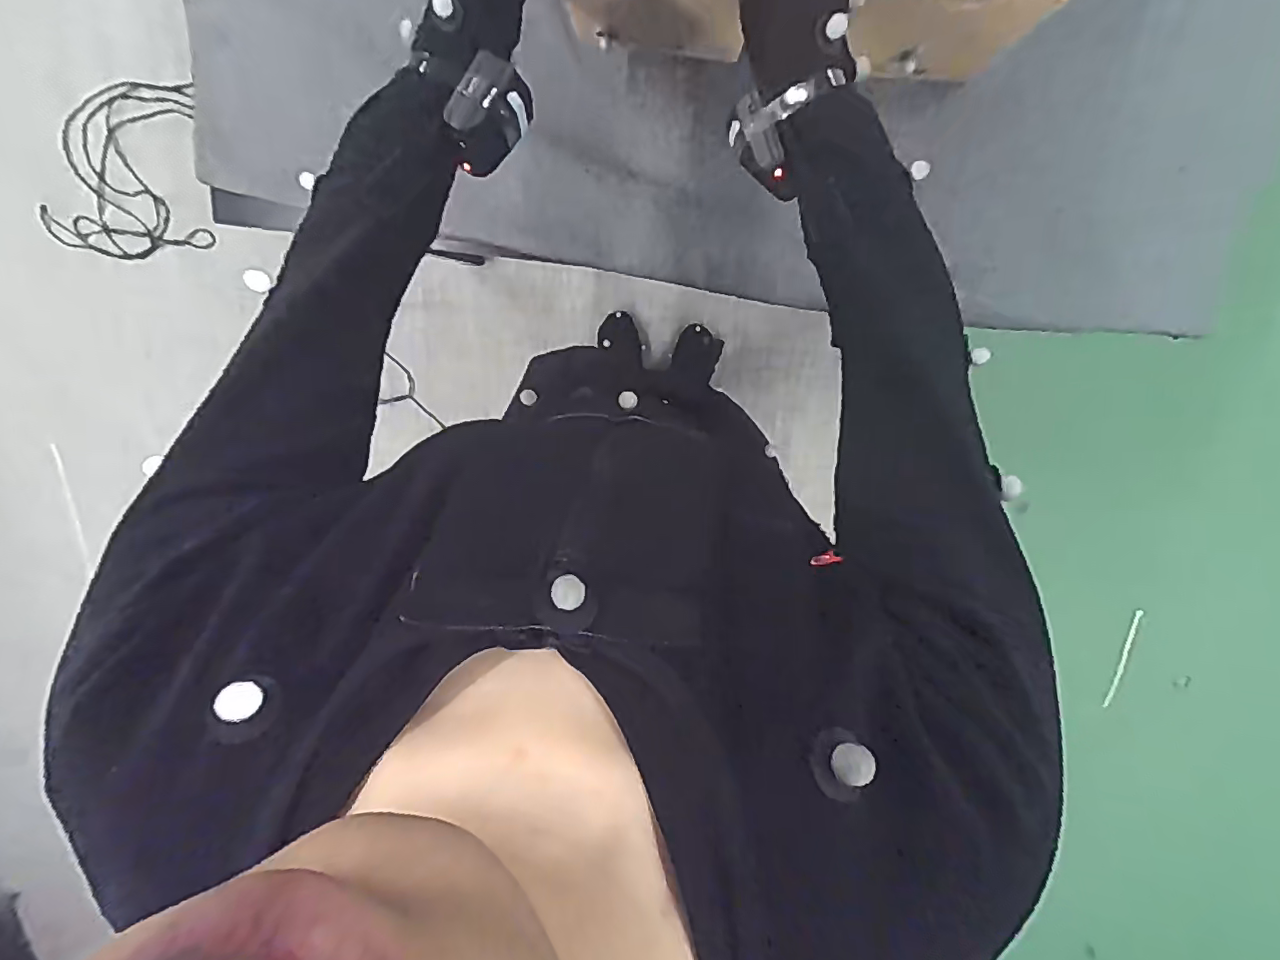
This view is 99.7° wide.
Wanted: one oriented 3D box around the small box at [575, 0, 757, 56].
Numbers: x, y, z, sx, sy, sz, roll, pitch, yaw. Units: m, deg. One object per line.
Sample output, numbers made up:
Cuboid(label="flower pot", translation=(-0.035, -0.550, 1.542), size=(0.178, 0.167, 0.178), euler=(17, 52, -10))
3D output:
Cuboid(label="small box", translation=(0.029, -0.492, 0.450), size=(0.168, 0.176, 0.179), euler=(7, 108, 0))

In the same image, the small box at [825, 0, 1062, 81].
Cuboid(label="small box", translation=(0.274, -0.493, 0.476), size=(0.168, 0.176, 0.179), euler=(8, 108, 5))
